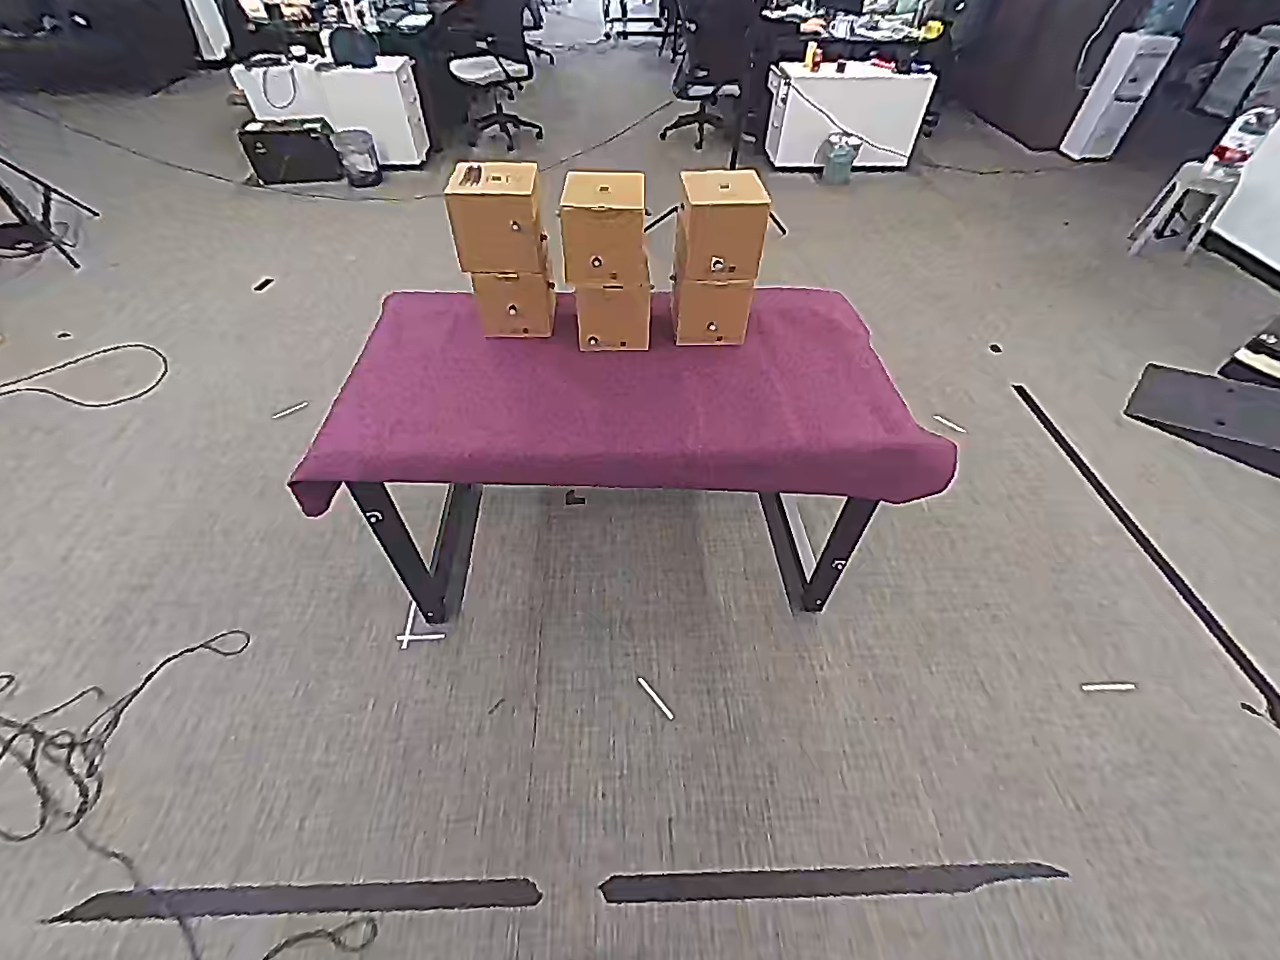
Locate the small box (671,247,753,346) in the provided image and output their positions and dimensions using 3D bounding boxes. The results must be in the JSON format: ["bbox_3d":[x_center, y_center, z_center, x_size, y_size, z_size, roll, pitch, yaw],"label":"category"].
[{"bbox_3d":[0.166,-0.444,1.309,0.168,0.176,0.179,-1,49,-2],"label":"small box"}]

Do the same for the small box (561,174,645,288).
[{"bbox_3d":[-0.075,-0.536,1.167,0.168,0.176,0.179,1,50,-1],"label":"small box"}]

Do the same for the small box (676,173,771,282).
[{"bbox_3d":[0.174,-0.555,1.191,0.168,0.176,0.179,-3,50,-3],"label":"small box"}]

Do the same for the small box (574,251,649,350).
[{"bbox_3d":[-0.064,-0.425,1.286,0.168,0.176,0.179,-1,48,-3],"label":"small box"}]

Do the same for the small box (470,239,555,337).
[{"bbox_3d":[-0.299,-0.462,1.312,0.168,0.176,0.179,-1,50,-3],"label":"small box"}]
